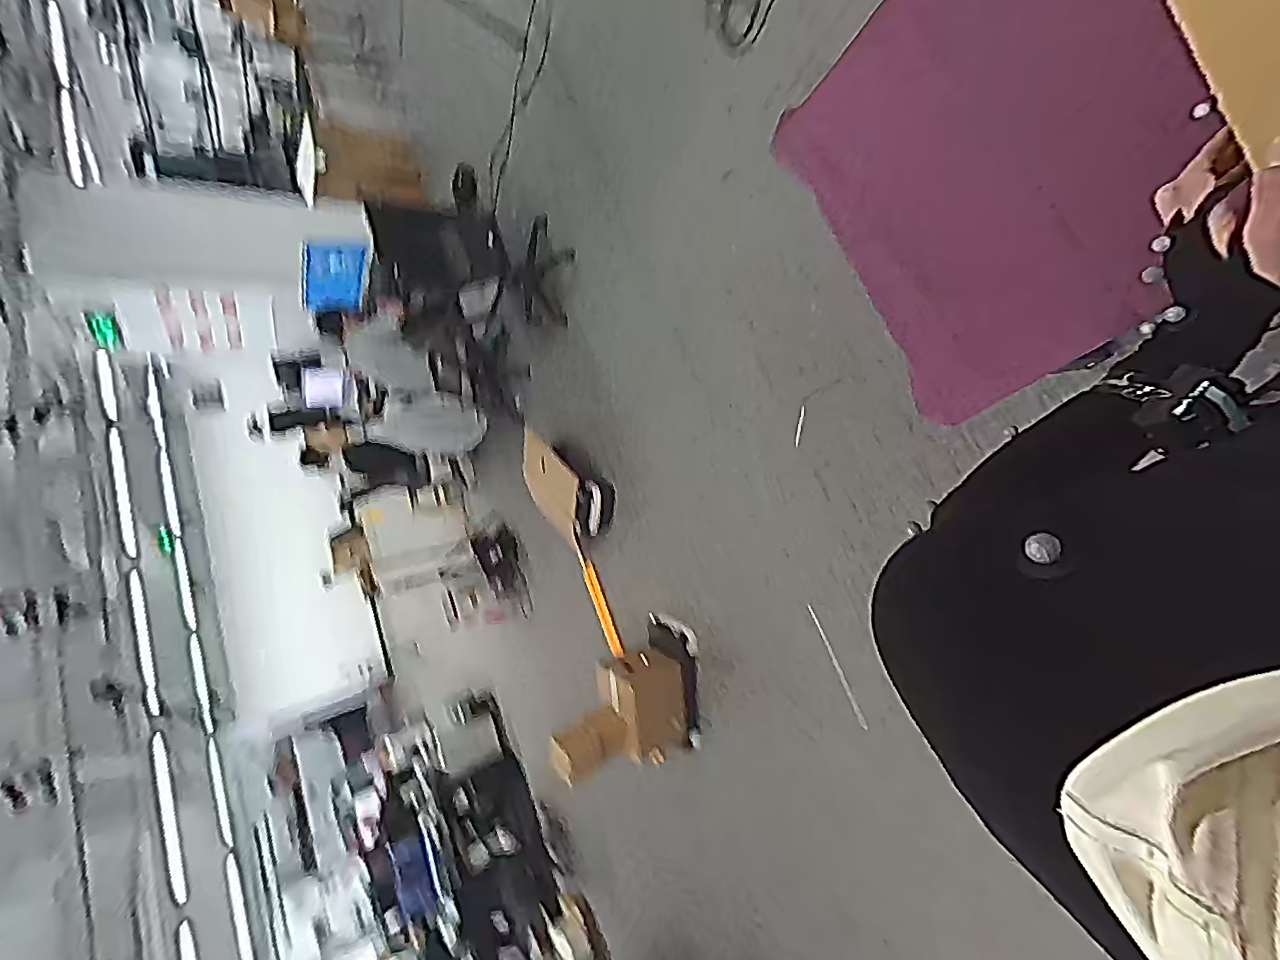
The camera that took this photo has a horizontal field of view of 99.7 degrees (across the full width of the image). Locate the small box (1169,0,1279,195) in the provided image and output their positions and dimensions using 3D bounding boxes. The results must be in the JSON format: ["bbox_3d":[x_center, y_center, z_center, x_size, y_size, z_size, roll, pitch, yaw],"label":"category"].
[{"bbox_3d":[0.541,-0.337,0.395,0.168,0.176,0.179,-25,78,53],"label":"small box"}]
